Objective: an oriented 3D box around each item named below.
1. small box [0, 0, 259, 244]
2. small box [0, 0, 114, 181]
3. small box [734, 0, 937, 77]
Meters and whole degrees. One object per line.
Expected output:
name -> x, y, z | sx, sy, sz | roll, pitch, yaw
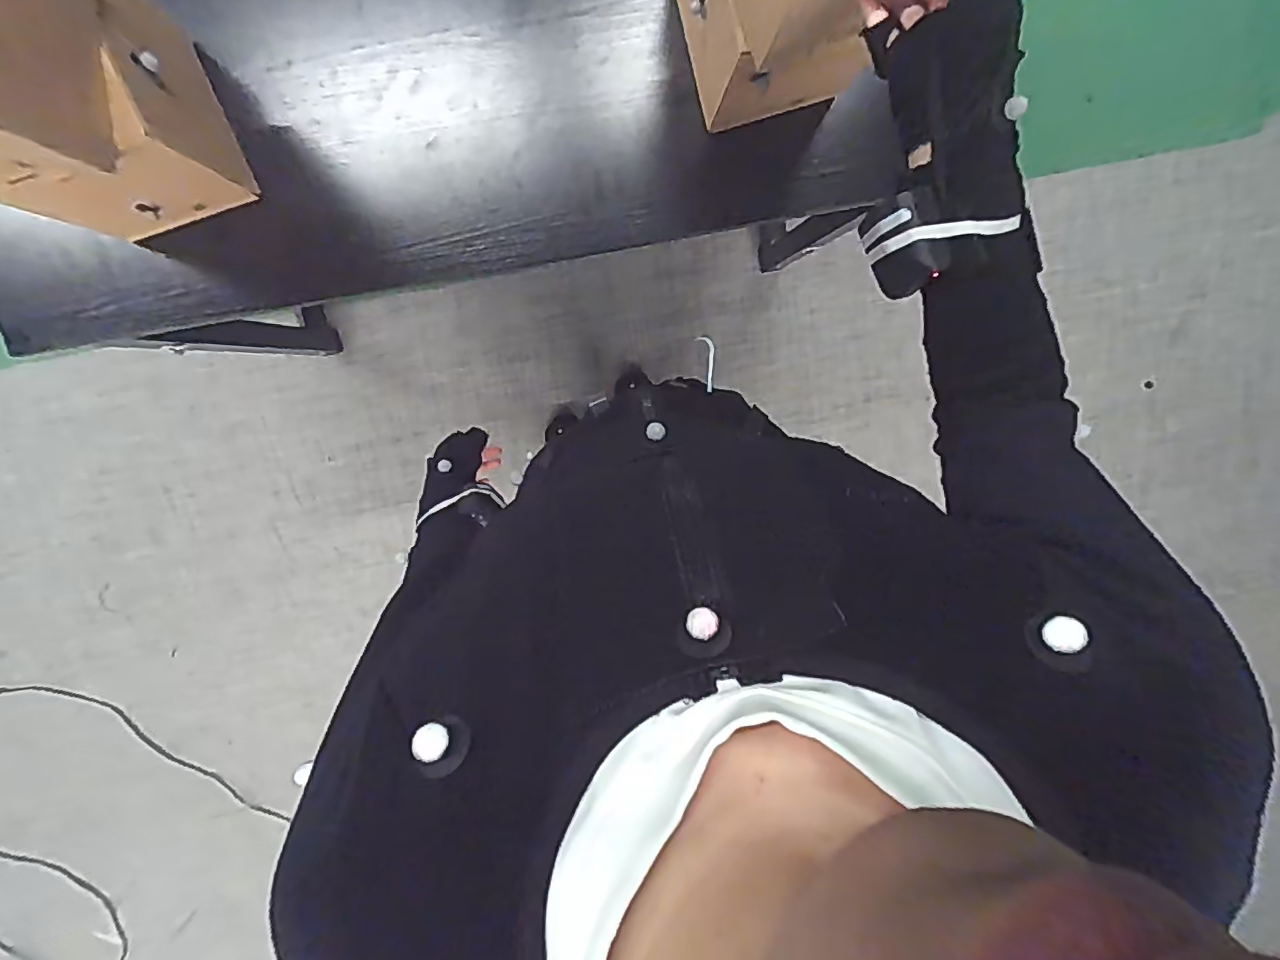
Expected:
small box -> -0.542, -0.366, 0.544 | 0.168, 0.176, 0.179 | -20, 103, -1
small box -> -0.532, -0.334, 0.383 | 0.168, 0.176, 0.179 | 1, 101, -5
small box -> 0.159, -0.458, 0.402 | 0.168, 0.176, 0.179 | -20, 101, -1
